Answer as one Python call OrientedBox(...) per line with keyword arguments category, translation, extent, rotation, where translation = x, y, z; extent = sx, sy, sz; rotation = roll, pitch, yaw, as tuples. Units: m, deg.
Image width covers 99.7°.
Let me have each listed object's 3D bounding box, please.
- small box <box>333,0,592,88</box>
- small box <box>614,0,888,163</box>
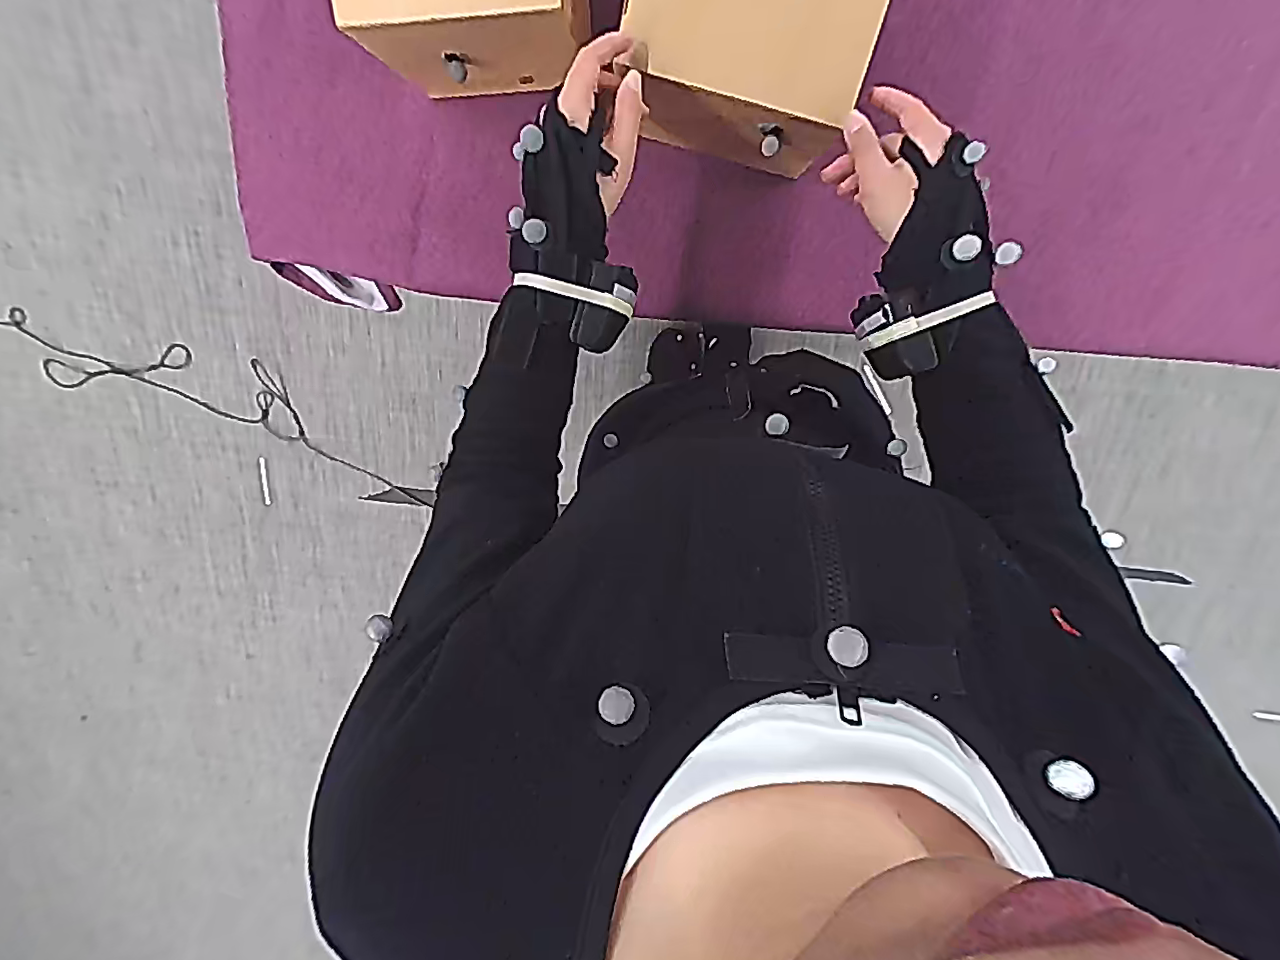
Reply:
OrientedBox(category="small box", translation=(-0.135, -0.437, 0.427), extent=(0.168, 0.176, 0.179), rotation=(-2, 109, 4))
OrientedBox(category="small box", translation=(0.089, -0.376, 0.432), extent=(0.179, 0.176, 0.168), rotation=(15, 108, -1))
